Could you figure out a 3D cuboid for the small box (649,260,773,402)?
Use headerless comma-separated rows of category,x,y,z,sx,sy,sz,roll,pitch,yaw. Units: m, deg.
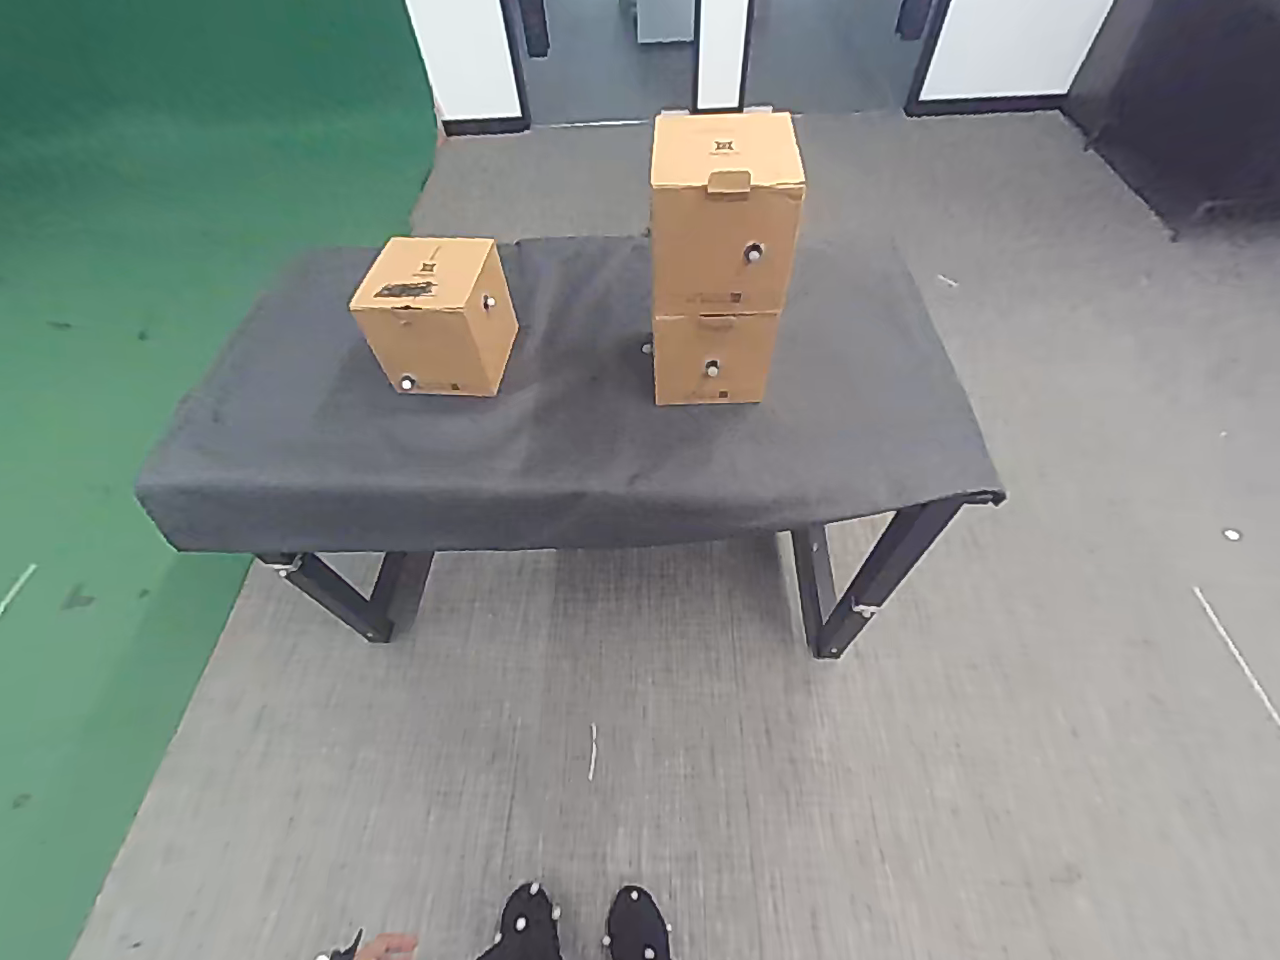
small box,0.099,-0.231,0.821,0.168,0.176,0.179,-1,55,1

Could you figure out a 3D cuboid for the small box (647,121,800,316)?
small box,0.097,-0.327,0.688,0.168,0.176,0.179,1,53,3

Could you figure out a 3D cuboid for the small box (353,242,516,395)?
small box,-0.306,-0.251,0.853,0.168,0.176,0.179,3,53,4
